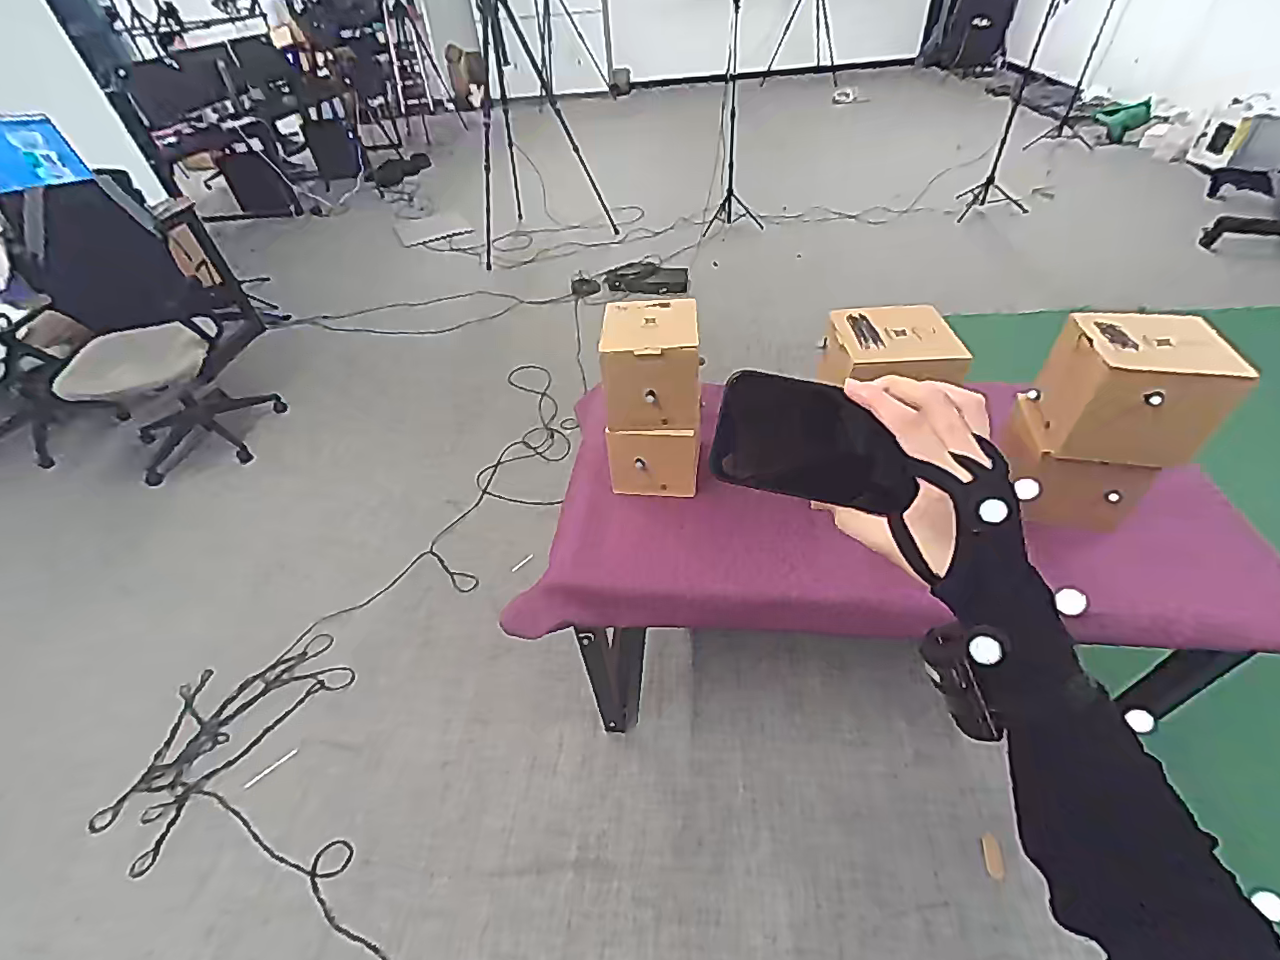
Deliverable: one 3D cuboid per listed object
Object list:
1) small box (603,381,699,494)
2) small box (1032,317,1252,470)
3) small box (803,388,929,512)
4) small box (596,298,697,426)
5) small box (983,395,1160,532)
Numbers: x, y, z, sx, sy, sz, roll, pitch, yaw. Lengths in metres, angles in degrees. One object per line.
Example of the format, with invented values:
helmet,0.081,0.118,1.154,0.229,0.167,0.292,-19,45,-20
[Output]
small box,0.030,-0.088,1.094,0.168,0.176,0.179,3,45,9
small box,0.742,-0.132,0.833,0.179,0.176,0.168,7,46,12
small box,0.413,-0.055,1.020,0.179,0.176,0.168,3,45,9
small box,0.020,-0.210,0.985,0.168,0.176,0.179,0,45,5
small box,0.747,-0.028,0.959,0.179,0.176,0.168,7,45,13
